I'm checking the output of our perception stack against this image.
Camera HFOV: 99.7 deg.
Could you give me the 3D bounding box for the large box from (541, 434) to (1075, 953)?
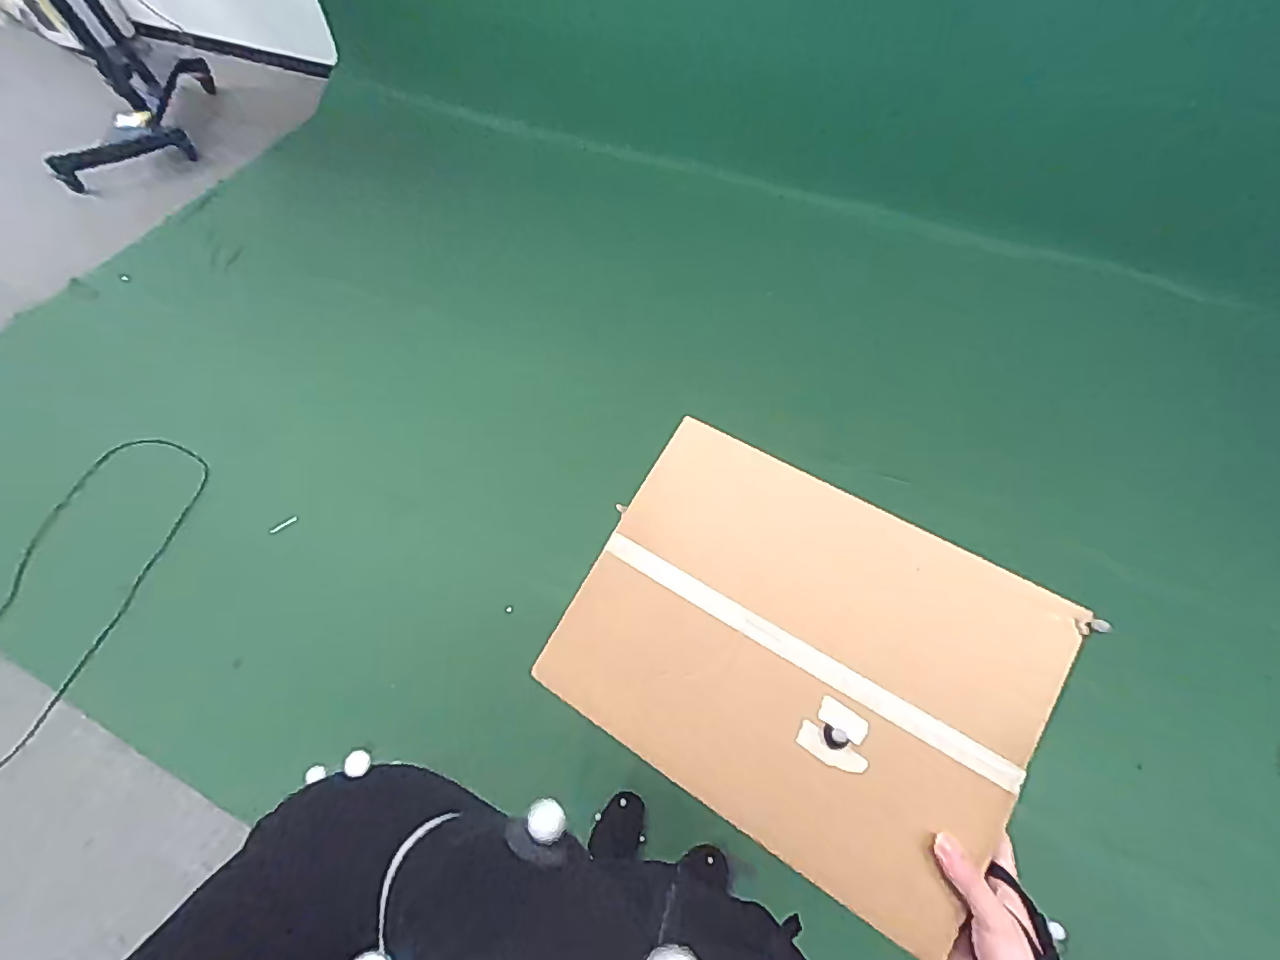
[{"bbox_3d":[0.166,0.203,0.646,0.408,0.320,0.320,28,81,17],"label":"large box"}]
